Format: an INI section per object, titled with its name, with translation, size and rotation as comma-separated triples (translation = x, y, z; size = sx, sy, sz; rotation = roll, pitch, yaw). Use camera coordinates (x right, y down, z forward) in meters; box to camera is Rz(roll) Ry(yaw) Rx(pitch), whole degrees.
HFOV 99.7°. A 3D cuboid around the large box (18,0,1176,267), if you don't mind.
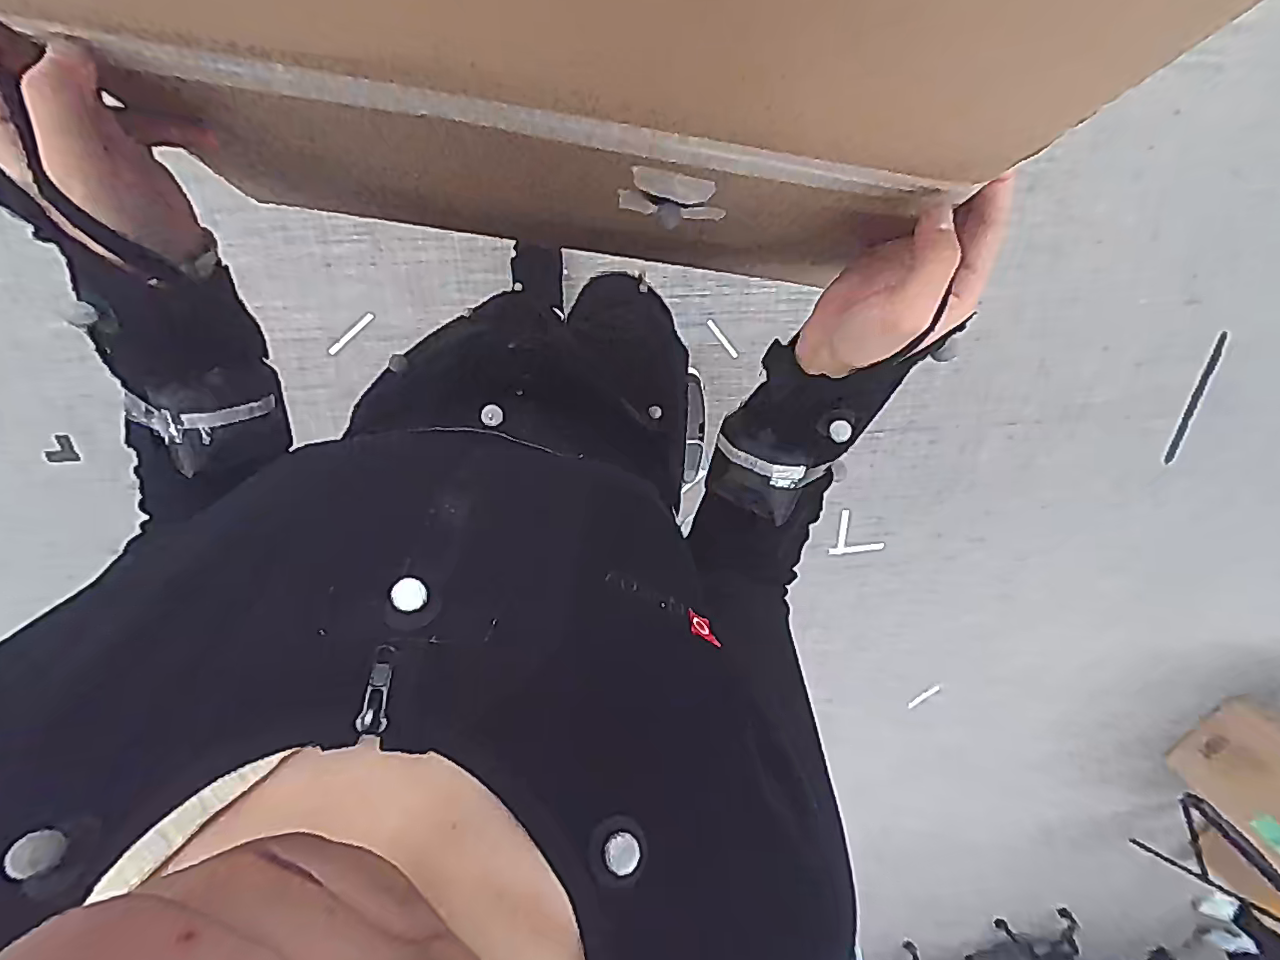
[large box]
translation = -0.031, -0.317, 0.226
size = 0.408, 0.320, 0.320
rotation = 6, 94, -5
